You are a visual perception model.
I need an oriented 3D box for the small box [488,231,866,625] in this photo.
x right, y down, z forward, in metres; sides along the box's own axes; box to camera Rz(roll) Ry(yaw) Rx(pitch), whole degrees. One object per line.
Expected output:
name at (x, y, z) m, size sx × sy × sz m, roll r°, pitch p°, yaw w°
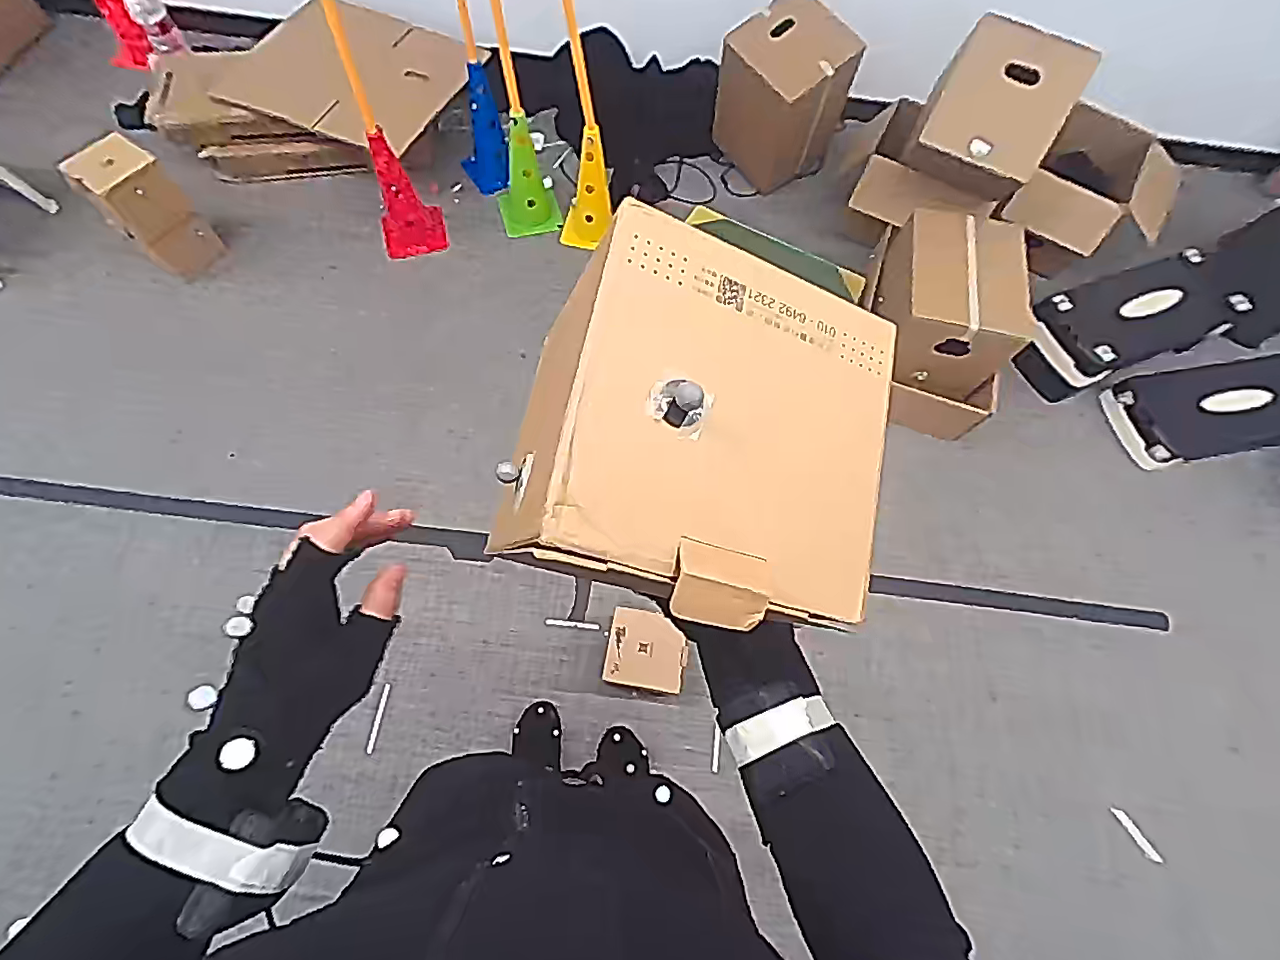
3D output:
small box at (0.018, -0.016, 0.338) m, size 0.168 × 0.179 × 0.176 m, roll 18°, pitch 76°, yaw -20°

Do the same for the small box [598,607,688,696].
small box at (0.003, 0.413, 1.293) m, size 0.179 × 0.176 × 0.168 m, roll 12°, pitch 67°, yaw -1°
